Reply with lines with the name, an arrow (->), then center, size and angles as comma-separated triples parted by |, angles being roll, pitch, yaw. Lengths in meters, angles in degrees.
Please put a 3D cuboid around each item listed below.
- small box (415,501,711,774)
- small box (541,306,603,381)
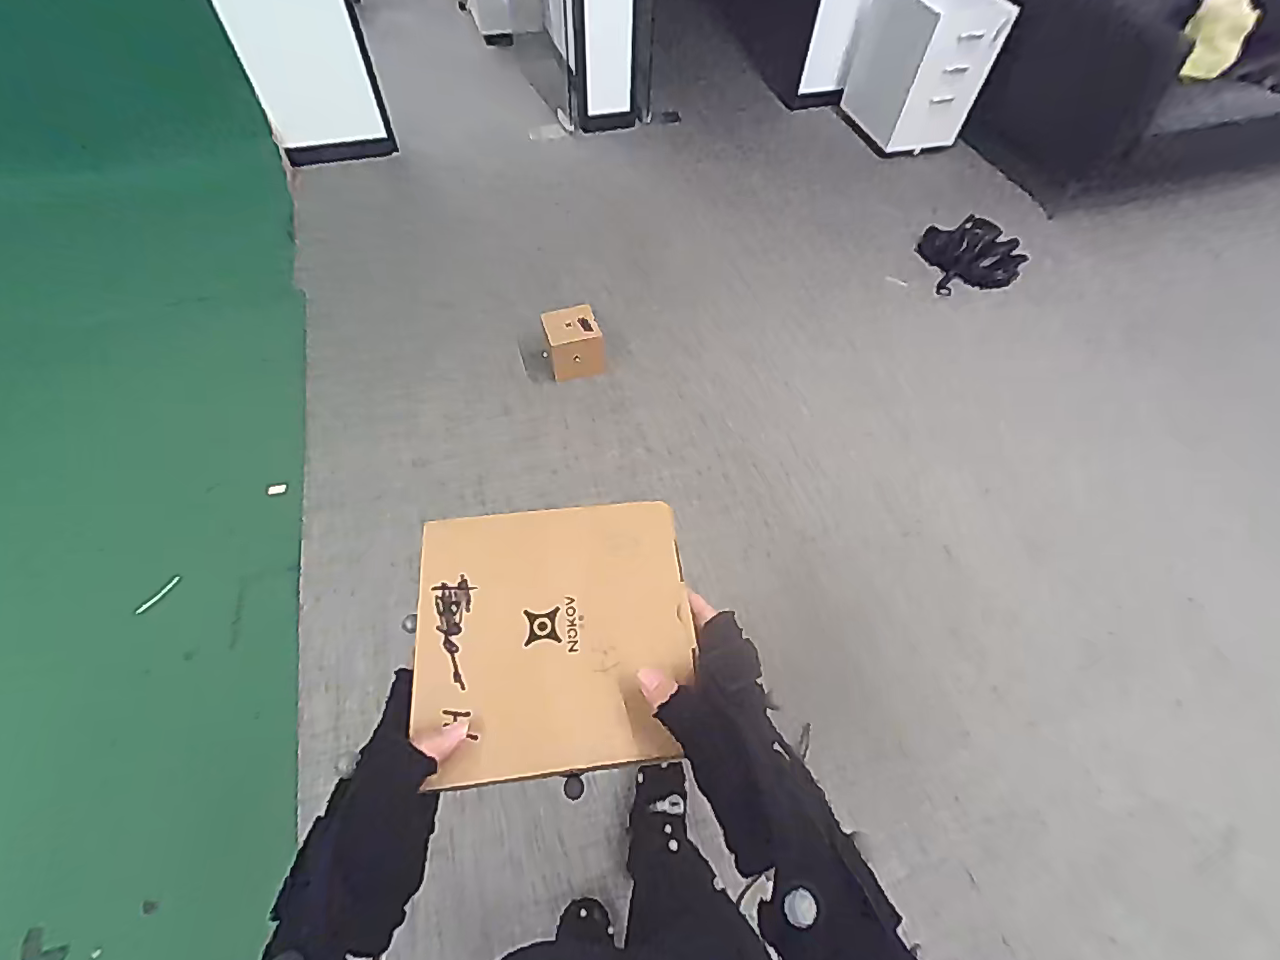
small box -> -0.058, 0.128, 0.423 | 0.179, 0.176, 0.168 | -3, 61, -8
small box -> -0.231, -0.468, 1.861 | 0.179, 0.176, 0.168 | -15, 59, -11
